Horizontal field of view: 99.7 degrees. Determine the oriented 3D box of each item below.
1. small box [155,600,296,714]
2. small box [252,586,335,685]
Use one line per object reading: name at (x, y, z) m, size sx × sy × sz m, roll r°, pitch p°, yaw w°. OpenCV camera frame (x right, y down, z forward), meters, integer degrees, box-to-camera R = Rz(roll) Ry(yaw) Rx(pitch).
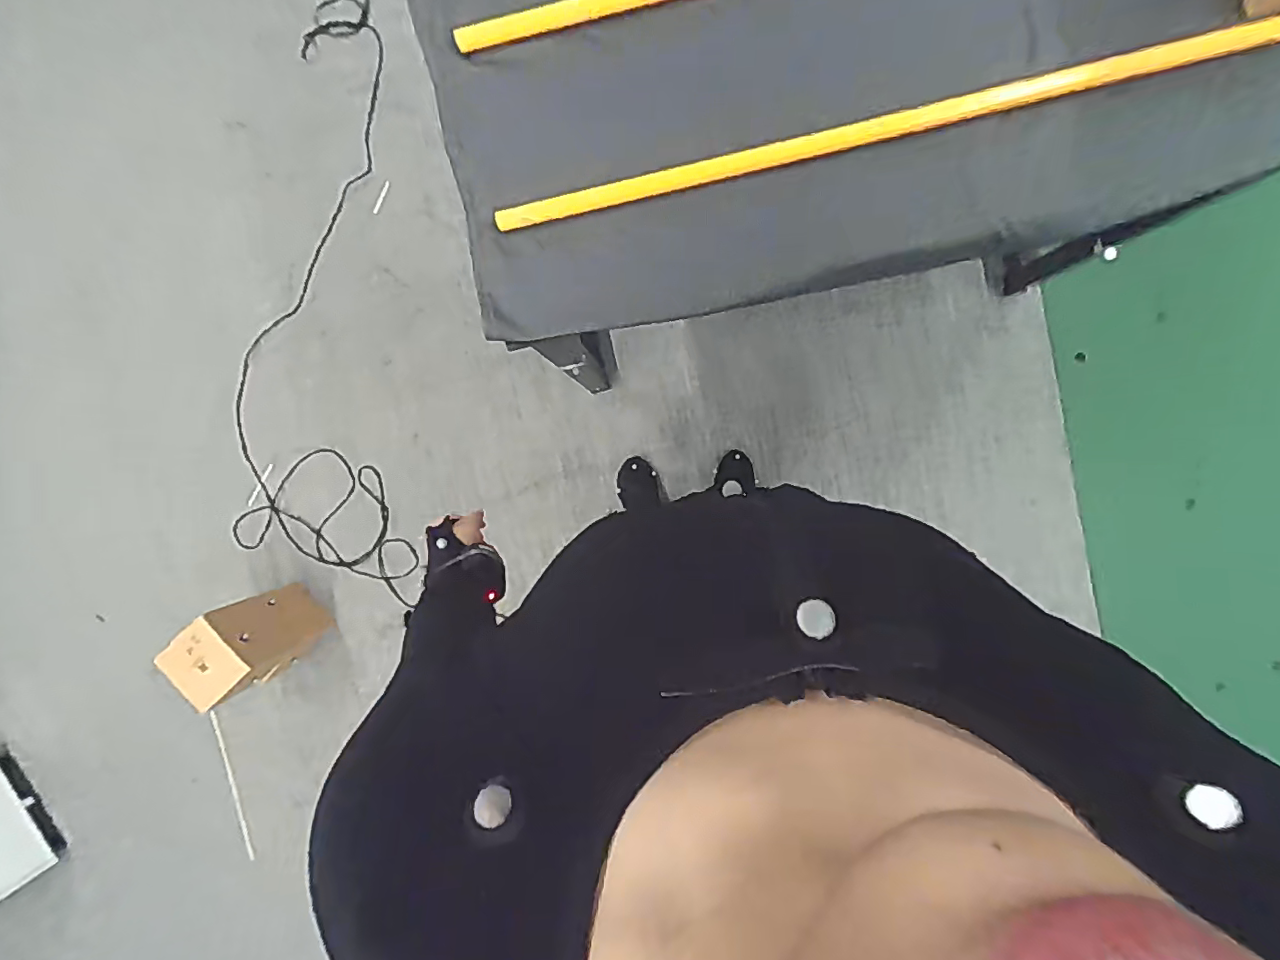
small box at (-0.999, 0.421, 1.320) m, size 0.168 × 0.176 × 0.179 m, roll -42°, pitch 90°, yaw 4°
small box at (-0.991, 0.417, 1.485) m, size 0.179 × 0.176 × 0.168 m, roll 42°, pitch 94°, yaw 0°
